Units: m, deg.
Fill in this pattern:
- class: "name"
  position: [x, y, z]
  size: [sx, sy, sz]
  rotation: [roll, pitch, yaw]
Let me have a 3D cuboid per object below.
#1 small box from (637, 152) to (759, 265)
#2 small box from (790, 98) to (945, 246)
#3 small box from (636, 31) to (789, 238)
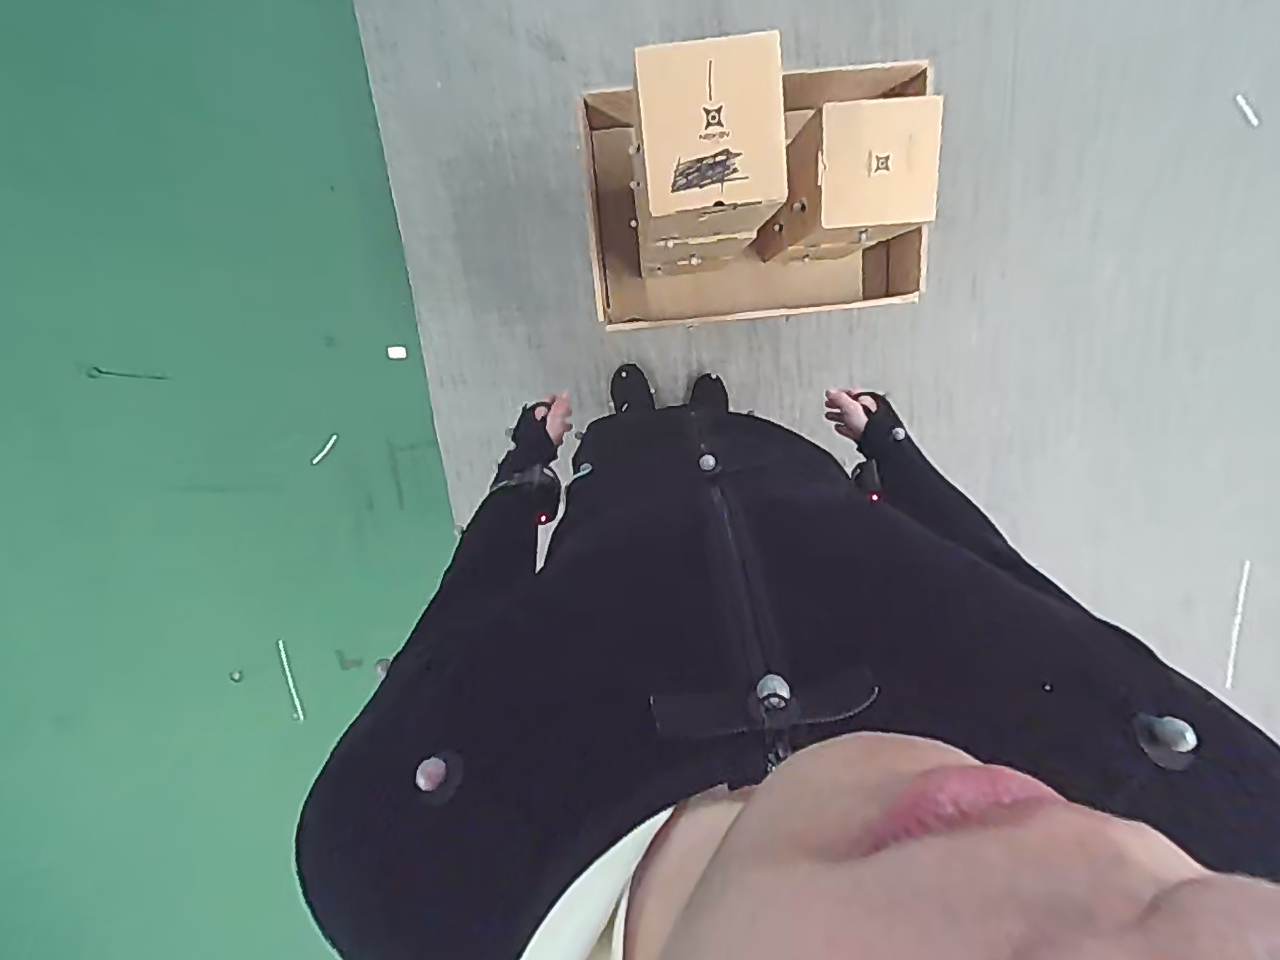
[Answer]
- class: "small box"
  position: [0.085, -0.450, 0.851]
  size: [0.168, 0.176, 0.179]
  rotation: [-5, 103, 0]
- class: "small box"
  position: [0.345, -0.474, 0.855]
  size: [0.179, 0.176, 0.168]
  rotation: [-4, 105, -1]
- class: "small box"
  position: [0.085, -0.419, 0.690]
  size: [0.168, 0.176, 0.179]
  rotation: [-7, 103, 0]
